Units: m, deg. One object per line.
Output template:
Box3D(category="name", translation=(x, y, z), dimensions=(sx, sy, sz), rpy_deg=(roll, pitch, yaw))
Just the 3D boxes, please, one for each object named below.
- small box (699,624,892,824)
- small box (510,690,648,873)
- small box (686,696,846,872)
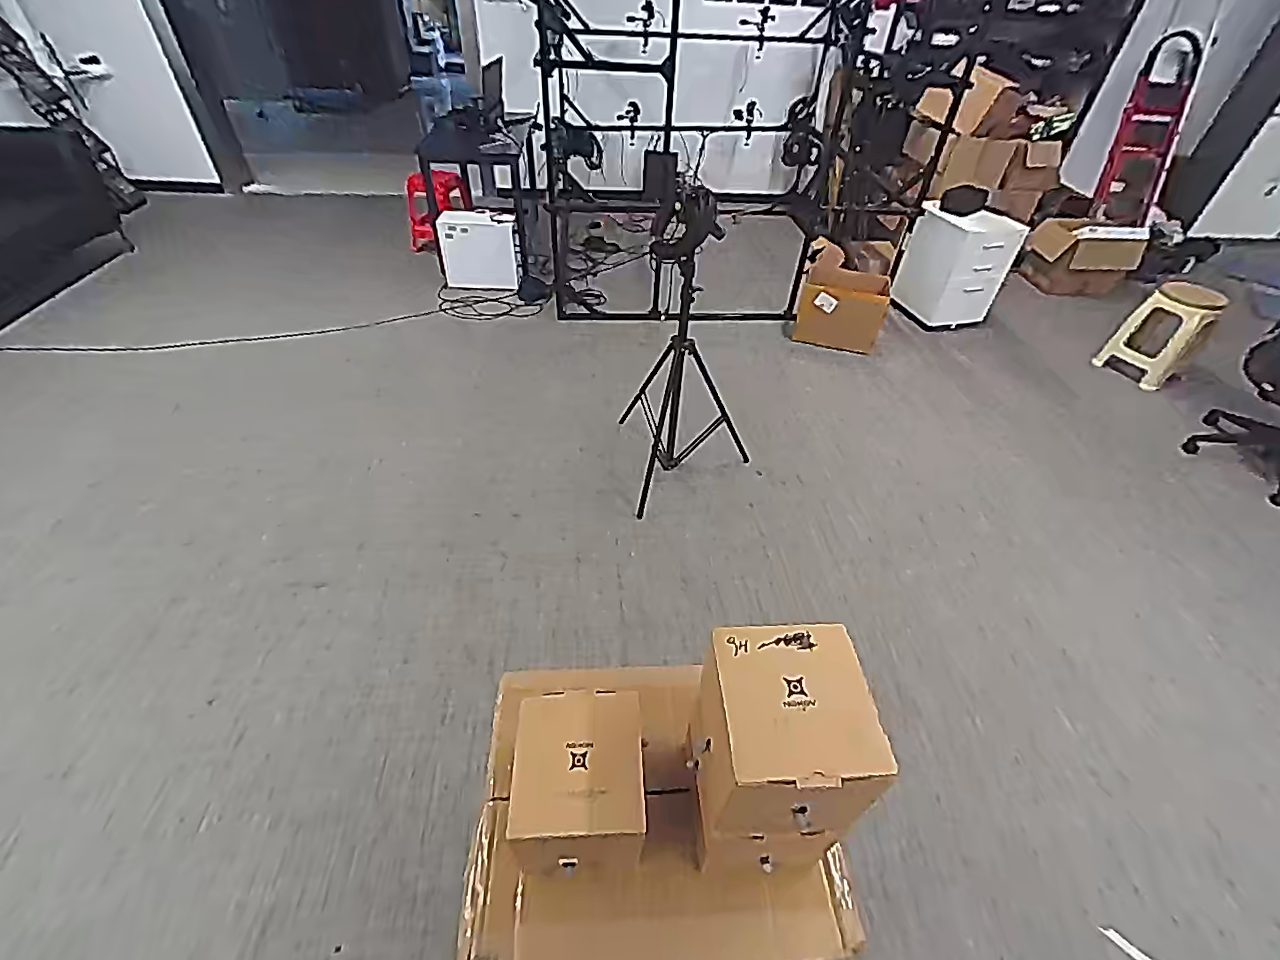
Box3D(category="small box", translation=(0.167, 0.295, 0.648), dimensions=(0.168, 0.176, 0.179), rpy_deg=(-1, 43, -3))
Box3D(category="small box", translation=(-0.081, 0.415, 0.748), dimensions=(0.168, 0.176, 0.179), rpy_deg=(-2, 44, -5))
Box3D(category="small box", translation=(0.159, 0.419, 0.756), dimensions=(0.168, 0.176, 0.179), rpy_deg=(-2, 43, -3))
